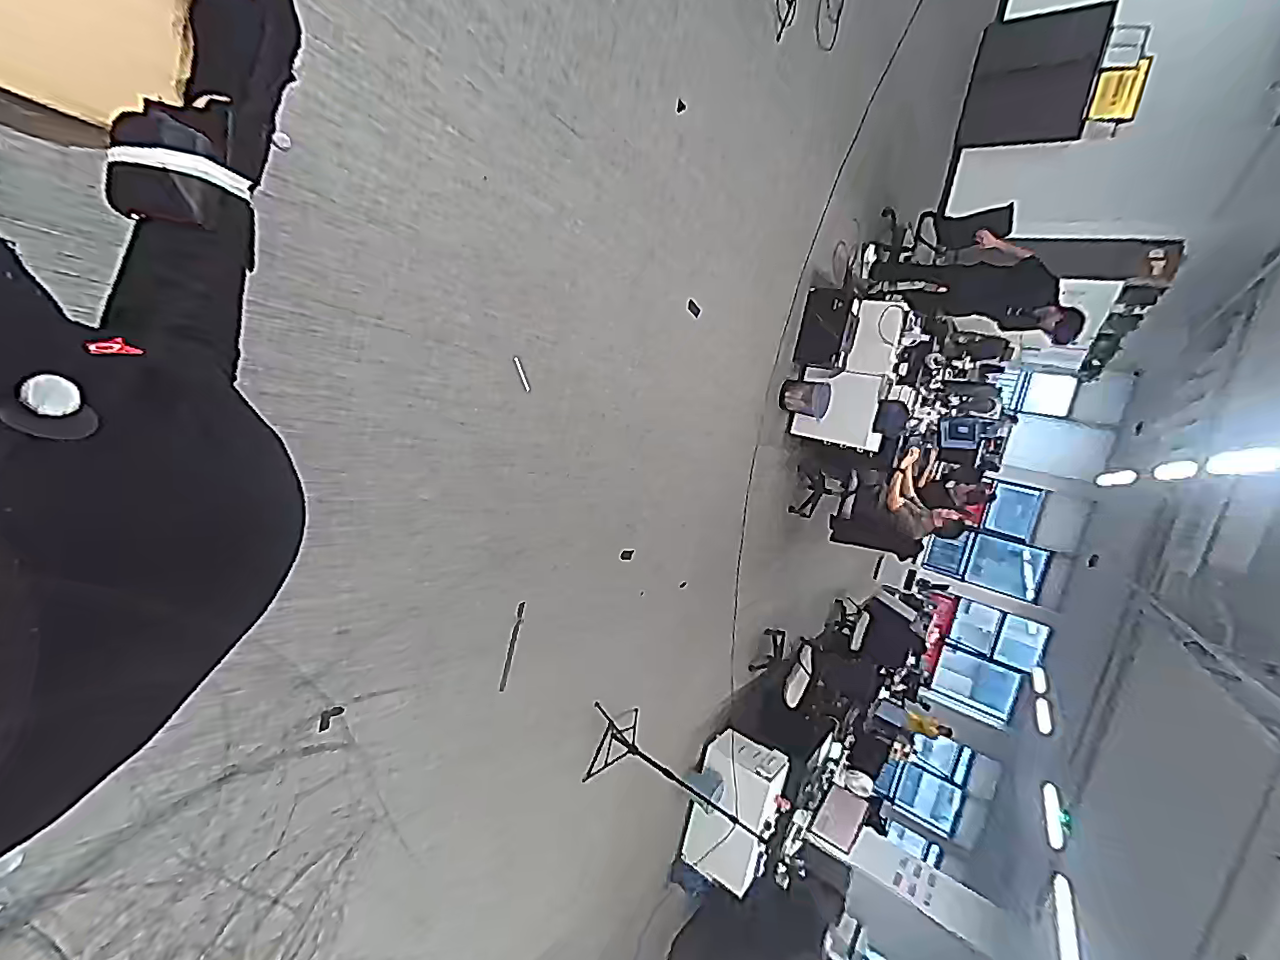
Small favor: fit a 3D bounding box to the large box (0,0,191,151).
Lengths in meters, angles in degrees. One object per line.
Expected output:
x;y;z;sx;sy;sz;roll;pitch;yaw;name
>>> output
-0.534;-0.432;0.280;0.408;0.320;0.320;-2;112;-59;large box
